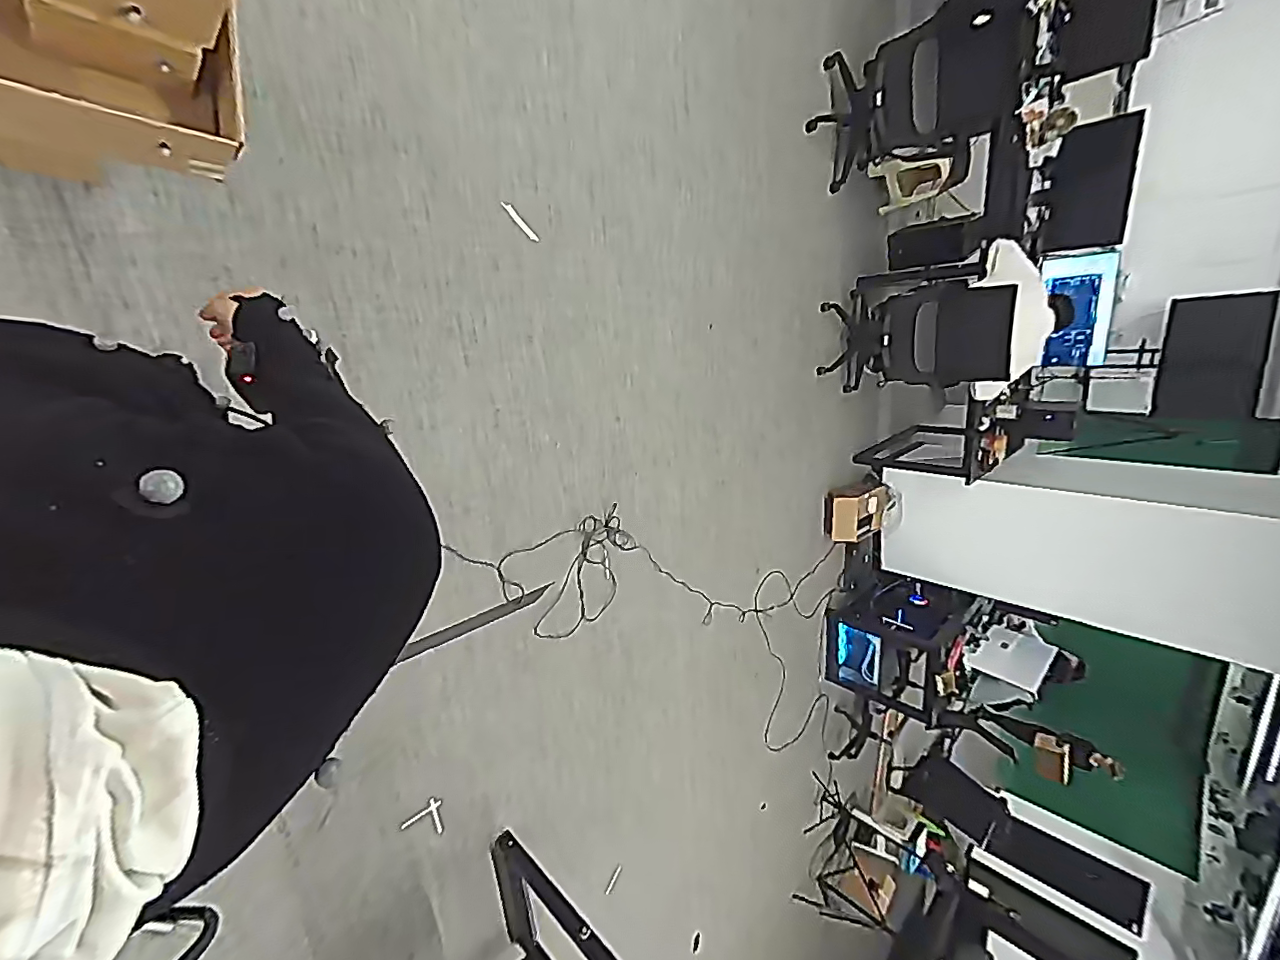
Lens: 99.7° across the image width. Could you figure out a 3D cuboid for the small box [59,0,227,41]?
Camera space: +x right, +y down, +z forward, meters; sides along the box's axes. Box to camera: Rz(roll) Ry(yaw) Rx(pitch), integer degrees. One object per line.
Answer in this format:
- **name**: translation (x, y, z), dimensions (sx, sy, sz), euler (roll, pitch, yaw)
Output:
- **small box**: translation (-0.632, -0.681, 0.655), dimensions (0.179, 0.176, 0.168), euler (-11, 105, -44)
